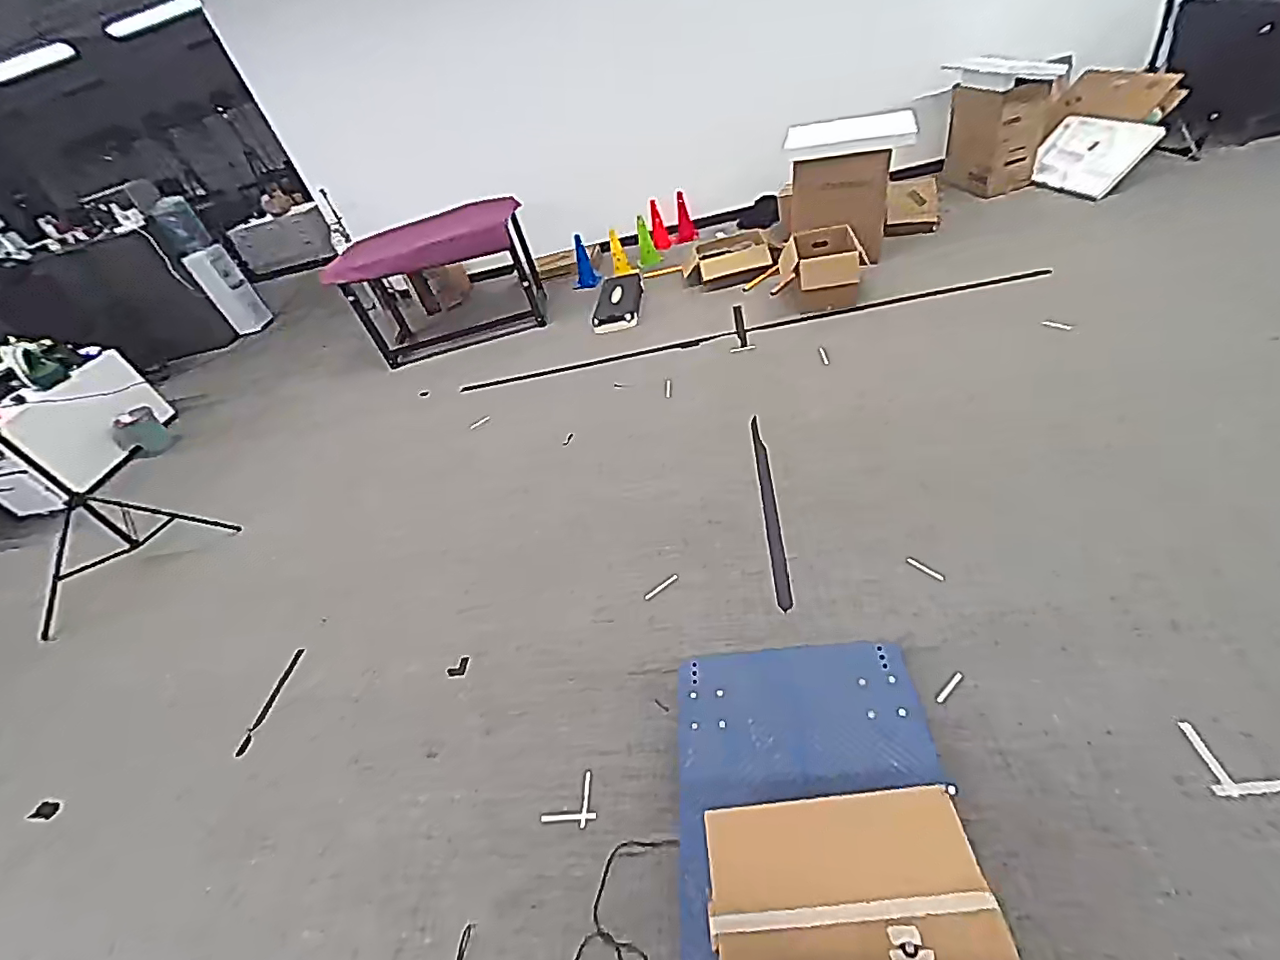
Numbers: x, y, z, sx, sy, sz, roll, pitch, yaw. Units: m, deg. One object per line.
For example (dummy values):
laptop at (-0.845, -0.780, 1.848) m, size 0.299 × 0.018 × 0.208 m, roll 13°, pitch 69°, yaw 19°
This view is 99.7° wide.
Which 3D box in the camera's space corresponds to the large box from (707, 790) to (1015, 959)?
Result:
large box at (0.346, 0.761, 0.897) m, size 0.408 × 0.320 × 0.320 m, roll -11°, pitch 41°, yaw 7°
